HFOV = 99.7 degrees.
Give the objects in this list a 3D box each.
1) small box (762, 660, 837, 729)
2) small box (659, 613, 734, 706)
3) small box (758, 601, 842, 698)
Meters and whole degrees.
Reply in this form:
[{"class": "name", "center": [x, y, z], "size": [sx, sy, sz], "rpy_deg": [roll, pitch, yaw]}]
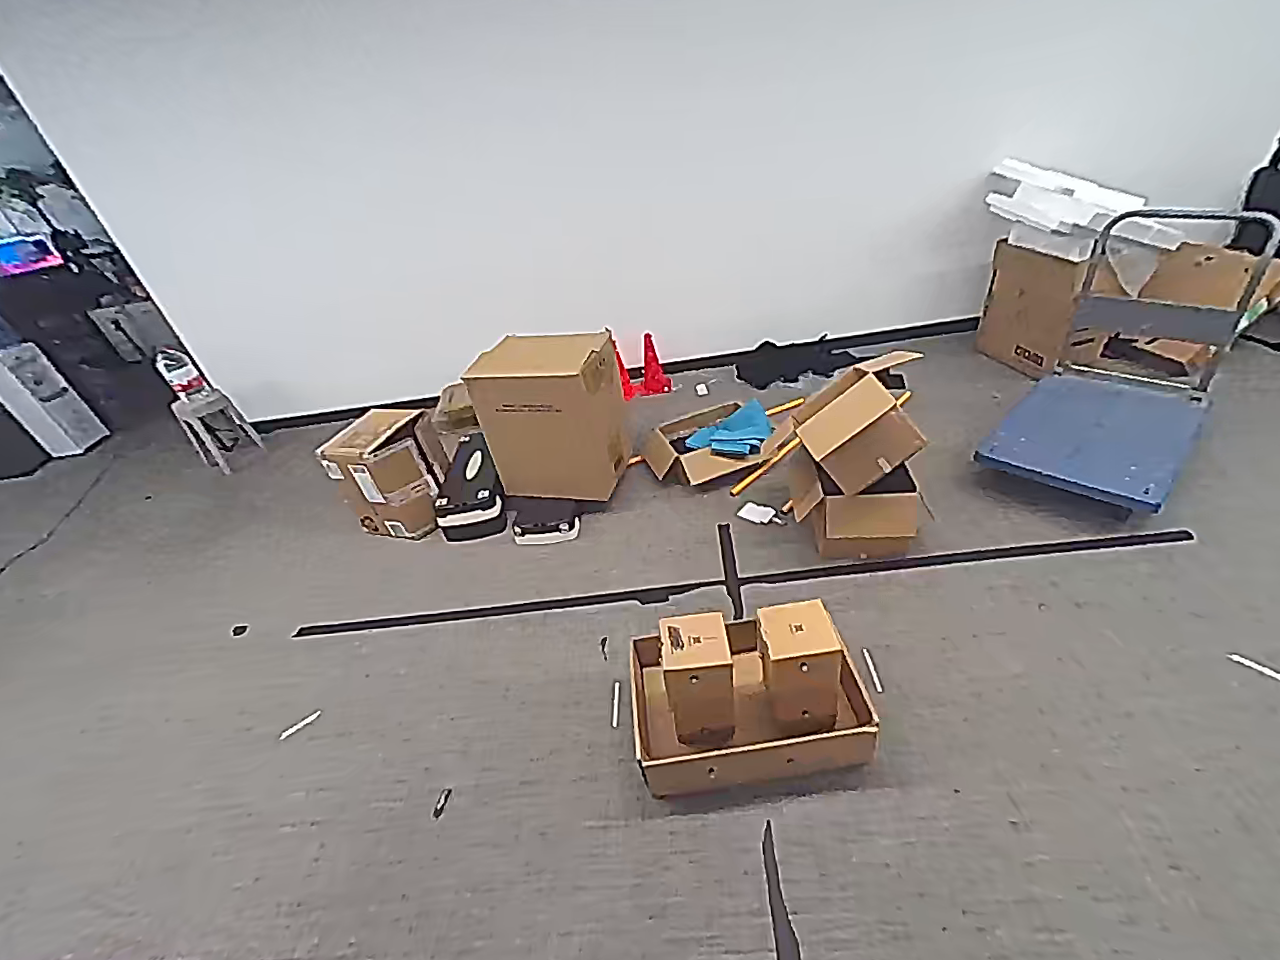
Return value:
[{"class": "small box", "center": [0.445, 0.577, 1.519], "size": [0.168, 0.176, 0.179], "rpy_deg": [-9, 34, 3]}, {"class": "small box", "center": [0.151, 0.483, 1.444], "size": [0.179, 0.176, 0.168], "rpy_deg": [-7, 35, 2]}, {"class": "small box", "center": [0.416, 0.448, 1.425], "size": [0.179, 0.176, 0.168], "rpy_deg": [-10, 35, 3]}]
